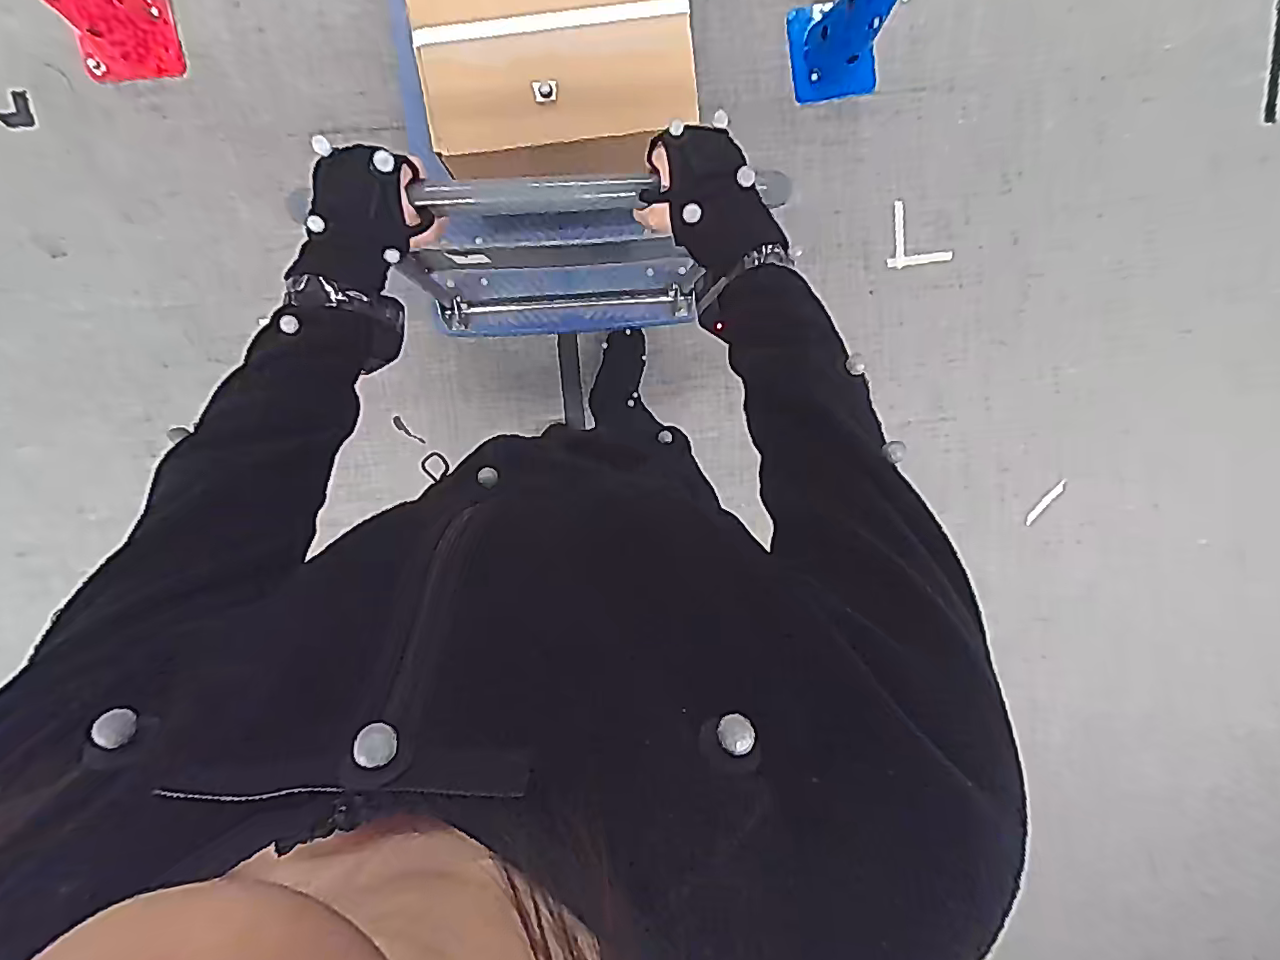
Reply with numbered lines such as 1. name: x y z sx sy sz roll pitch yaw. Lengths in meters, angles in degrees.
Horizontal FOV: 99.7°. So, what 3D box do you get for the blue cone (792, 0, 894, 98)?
1. blue cone: 0.471 -0.976 1.107 0.193 0.380 0.192 -10 101 -3
